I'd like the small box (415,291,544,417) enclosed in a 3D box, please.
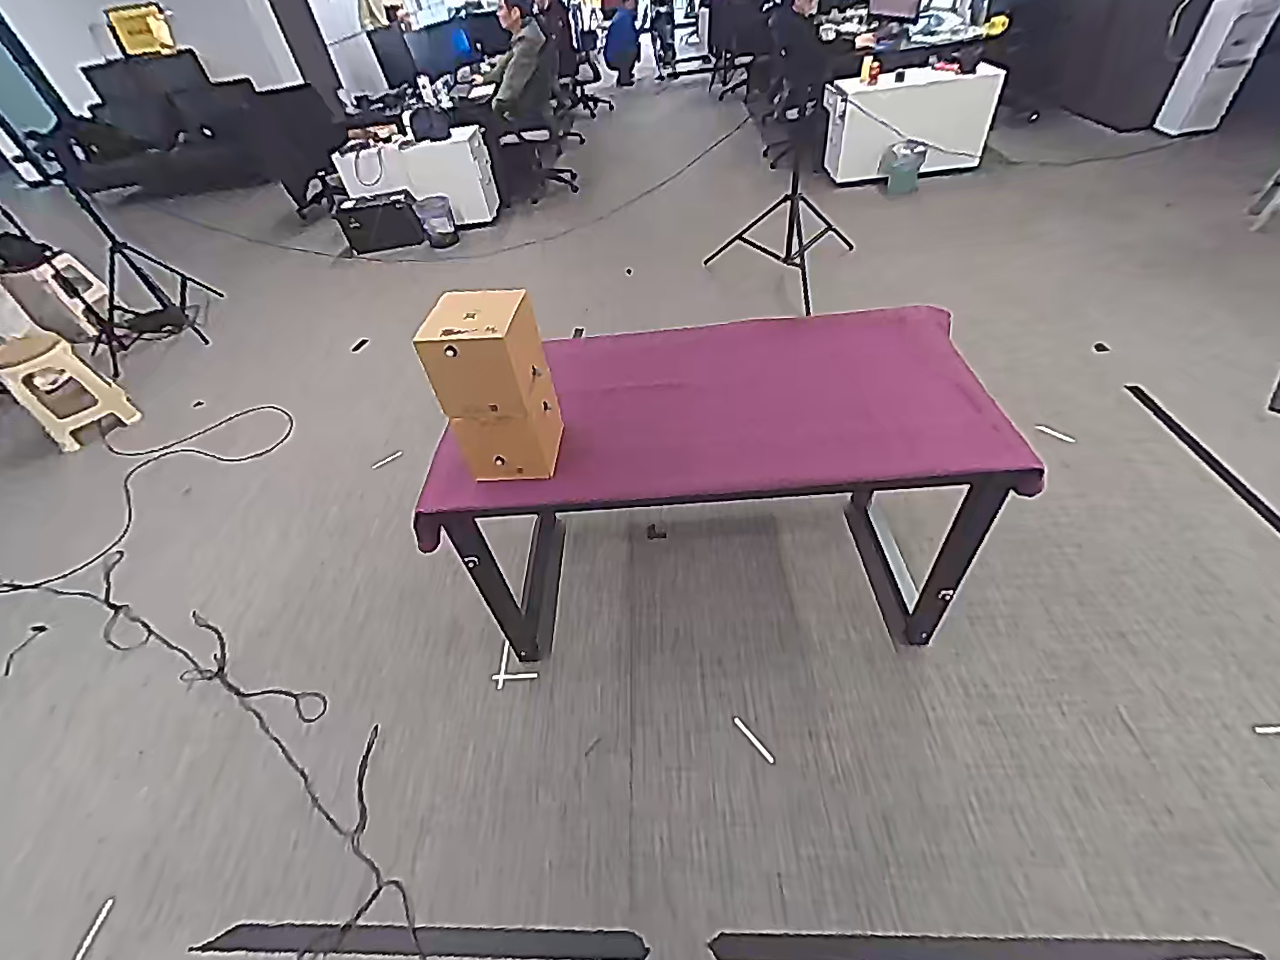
[{"bbox_3d":[-0.288,-0.237,1.019,0.168,0.176,0.179,-1,45,7],"label":"small box"}]

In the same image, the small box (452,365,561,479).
[{"bbox_3d":[-0.268,-0.121,1.134,0.168,0.176,0.179,-2,45,6],"label":"small box"}]
